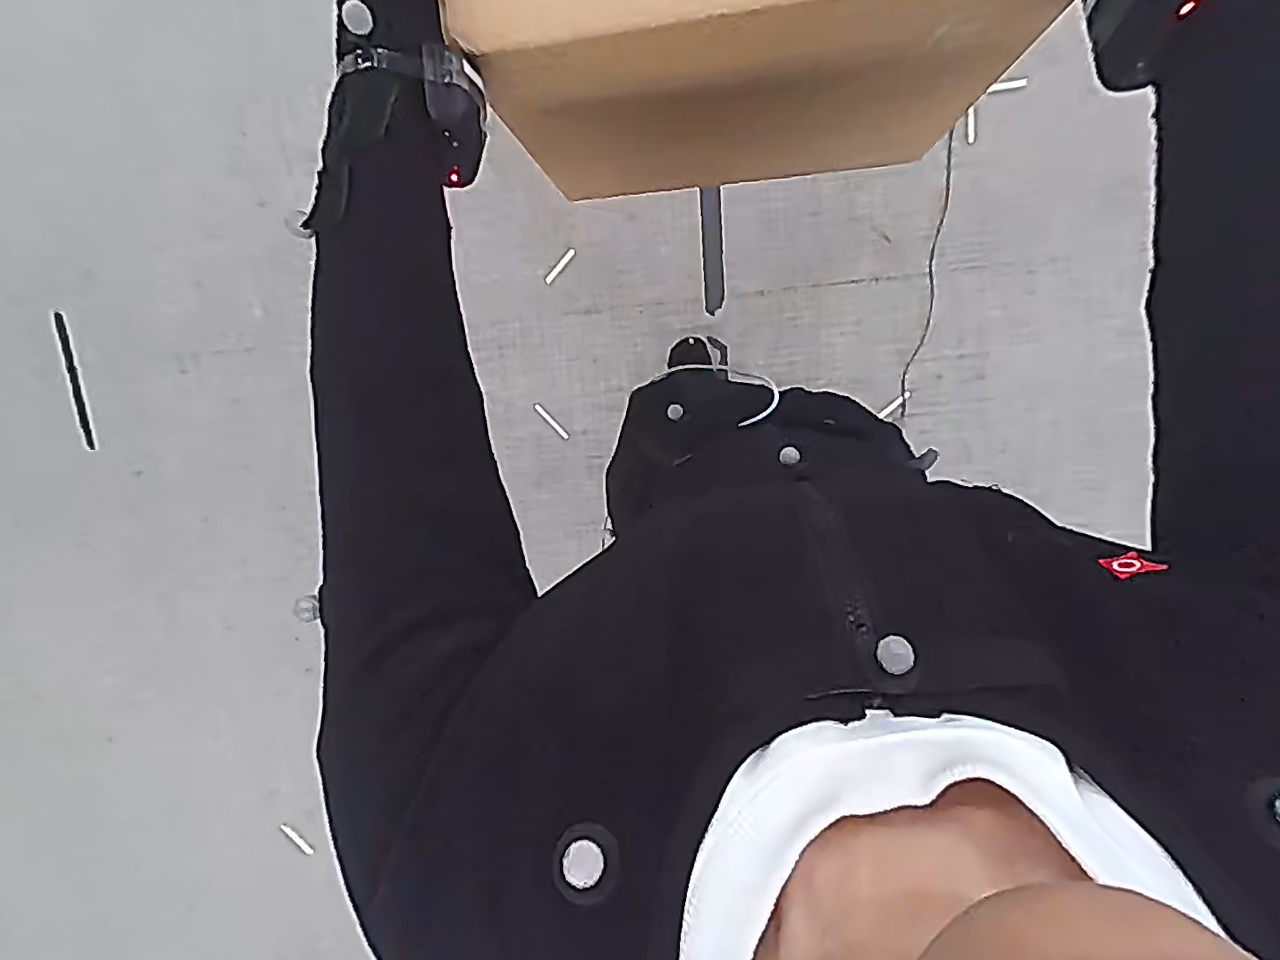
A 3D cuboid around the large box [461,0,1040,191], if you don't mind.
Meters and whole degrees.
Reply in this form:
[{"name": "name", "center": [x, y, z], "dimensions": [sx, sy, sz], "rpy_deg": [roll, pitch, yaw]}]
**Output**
[{"name": "large box", "center": [0.080, -0.480, 0.456], "dimensions": [0.408, 0.320, 0.320], "rpy_deg": [-3, 101, 7]}]
